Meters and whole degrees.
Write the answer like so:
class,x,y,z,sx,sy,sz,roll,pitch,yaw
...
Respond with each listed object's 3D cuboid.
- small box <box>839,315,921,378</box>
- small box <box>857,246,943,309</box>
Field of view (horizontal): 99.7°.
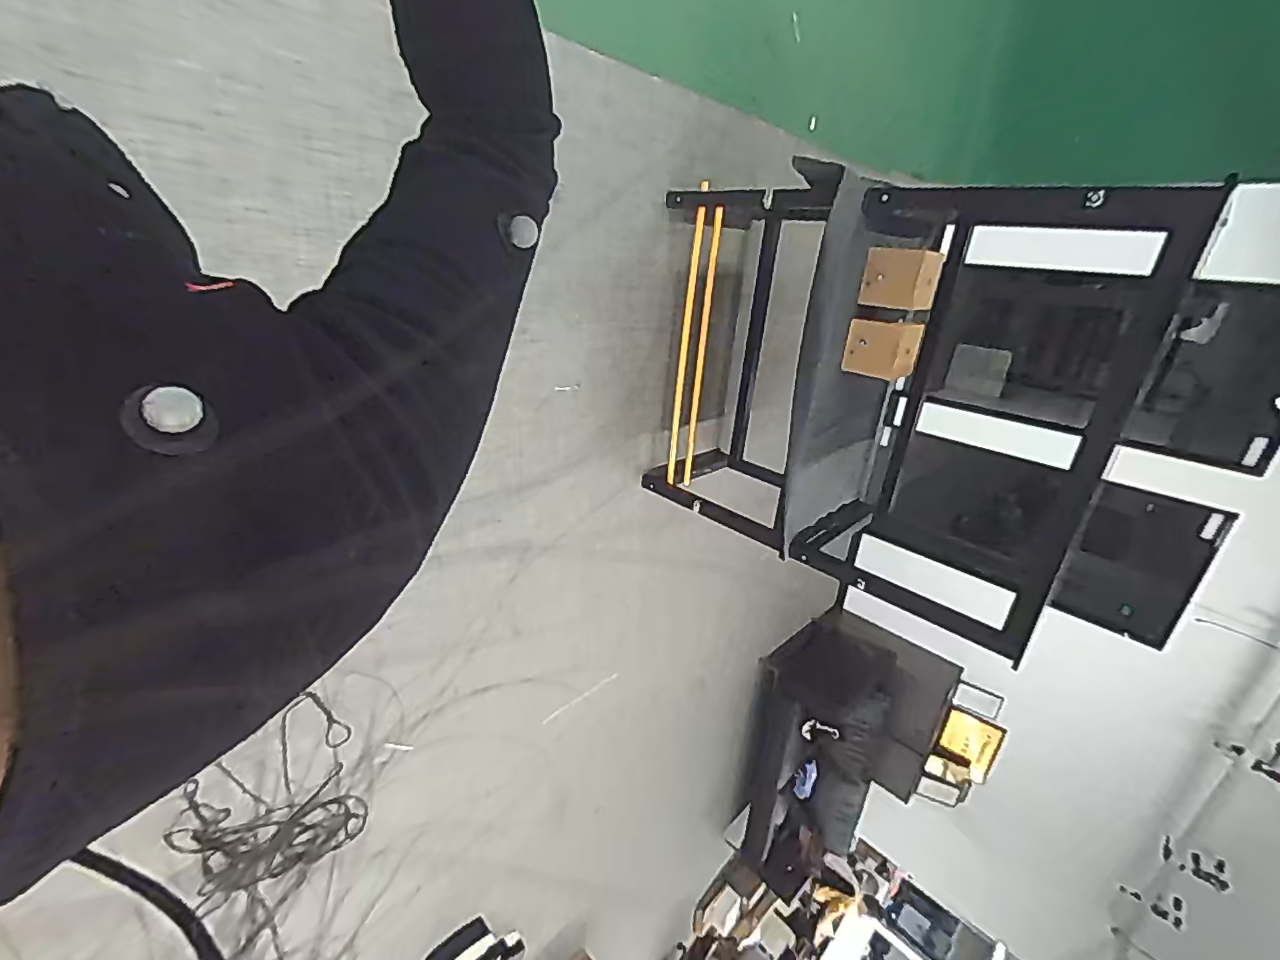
class,x,y,z,sx,sy,sz,roll,pitch,yaw
small box,0.773,-0.436,1.746,0.179,0.176,0.168,-18,123,-43
small box,0.798,-0.626,1.666,0.179,0.176,0.168,-19,122,-42
